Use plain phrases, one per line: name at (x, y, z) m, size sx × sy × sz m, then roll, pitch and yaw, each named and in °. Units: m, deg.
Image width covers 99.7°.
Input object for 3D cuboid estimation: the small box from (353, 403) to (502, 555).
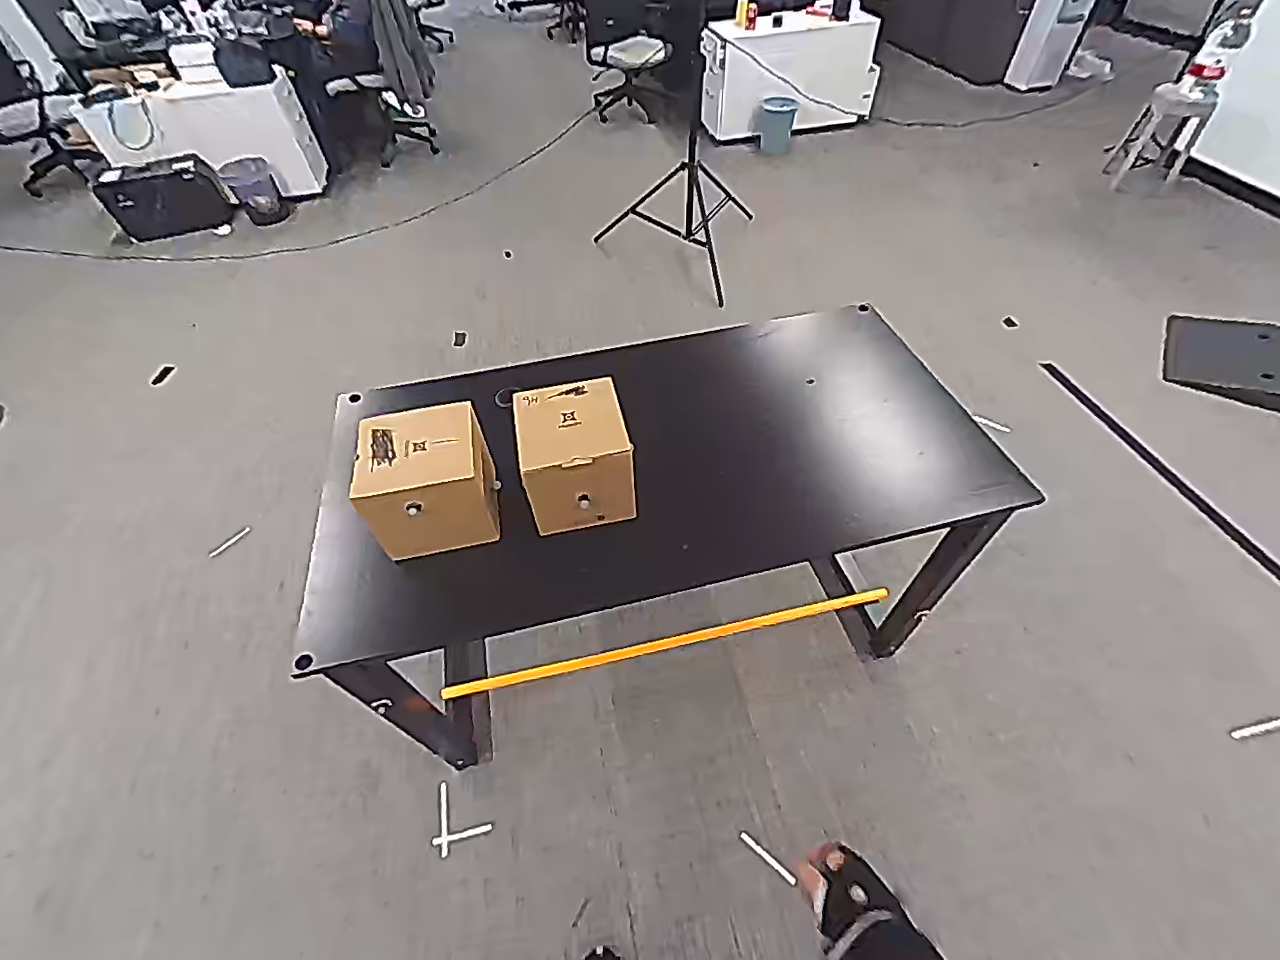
small box at (-0.333, 0.003, 0.879) m, size 0.179 × 0.176 × 0.168 m, roll -11°, pitch 52°, yaw -7°
